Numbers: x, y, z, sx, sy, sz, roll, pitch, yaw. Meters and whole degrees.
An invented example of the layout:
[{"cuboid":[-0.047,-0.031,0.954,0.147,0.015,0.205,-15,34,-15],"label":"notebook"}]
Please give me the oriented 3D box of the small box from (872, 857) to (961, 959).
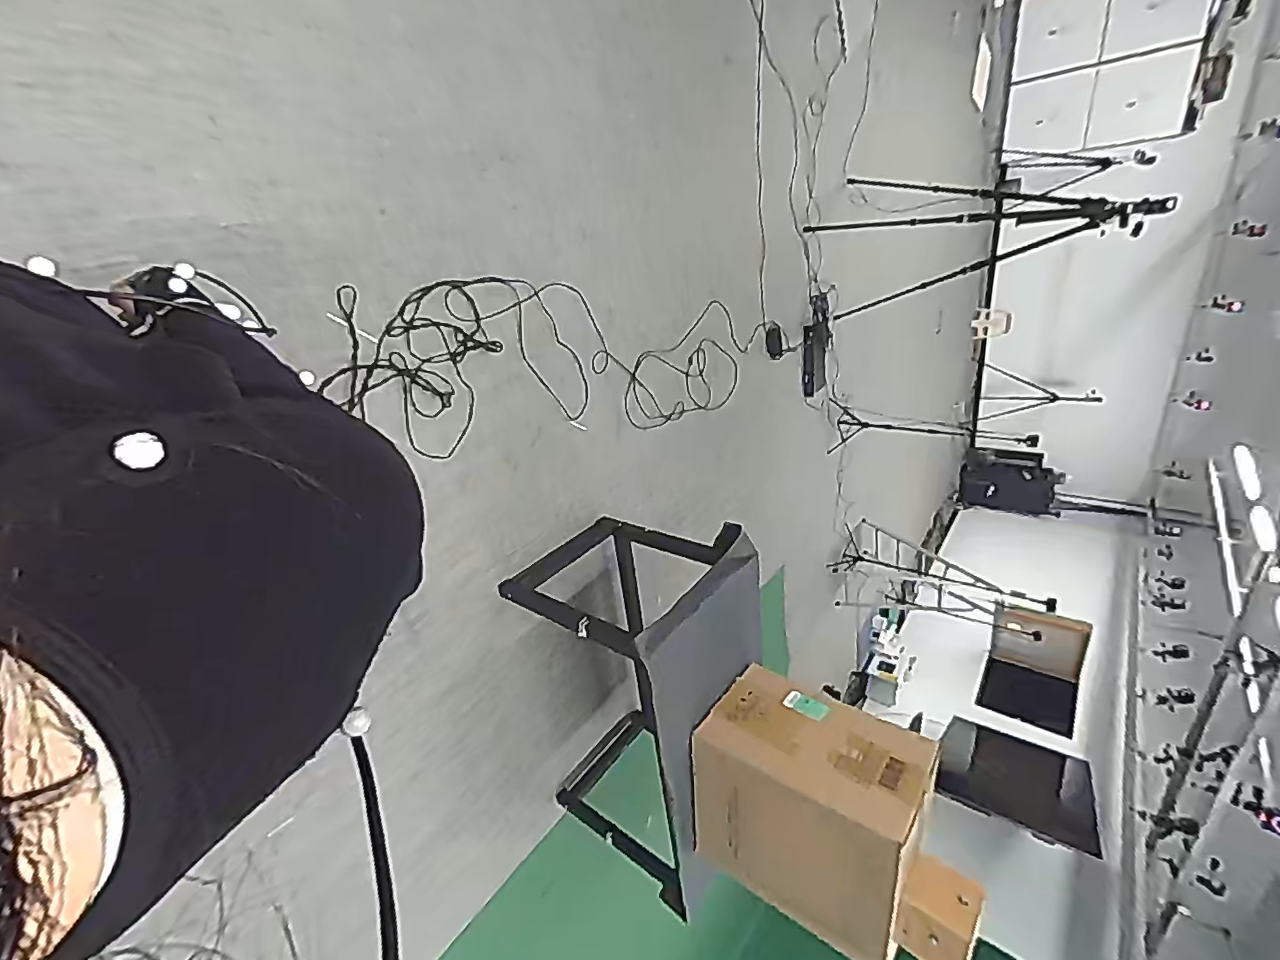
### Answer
[{"cuboid":[0.737,1.176,1.449,0.179,0.176,0.168,-19,115,-47],"label":"small box"}]
